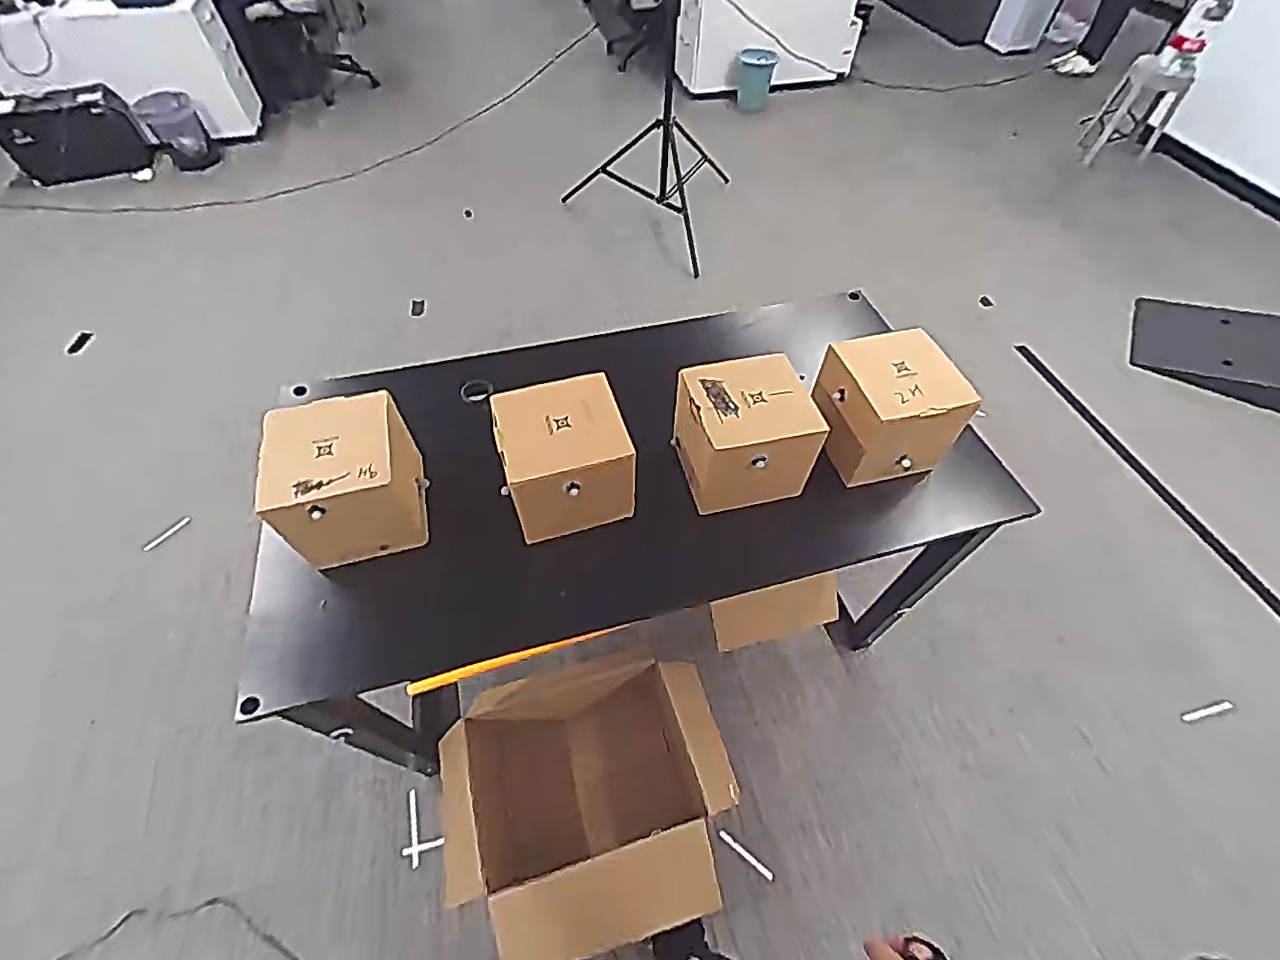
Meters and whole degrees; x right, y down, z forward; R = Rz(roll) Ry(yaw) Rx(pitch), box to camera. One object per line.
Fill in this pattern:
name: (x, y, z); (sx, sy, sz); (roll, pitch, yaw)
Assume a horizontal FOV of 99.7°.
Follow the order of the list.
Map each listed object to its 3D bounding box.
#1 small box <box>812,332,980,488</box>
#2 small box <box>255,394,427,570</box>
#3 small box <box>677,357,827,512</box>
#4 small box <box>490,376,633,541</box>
small box: (0.399, -0.114, 0.890); (0.168, 0.176, 0.179); (-12, 55, -7)
small box: (-0.422, 0.005, 0.793); (0.168, 0.176, 0.179); (-13, 56, -10)
small box: (0.161, -0.067, 0.854); (0.179, 0.176, 0.168); (-10, 55, -9)
small box: (-0.115, -0.028, 0.824); (0.179, 0.176, 0.168); (-14, 57, -12)
